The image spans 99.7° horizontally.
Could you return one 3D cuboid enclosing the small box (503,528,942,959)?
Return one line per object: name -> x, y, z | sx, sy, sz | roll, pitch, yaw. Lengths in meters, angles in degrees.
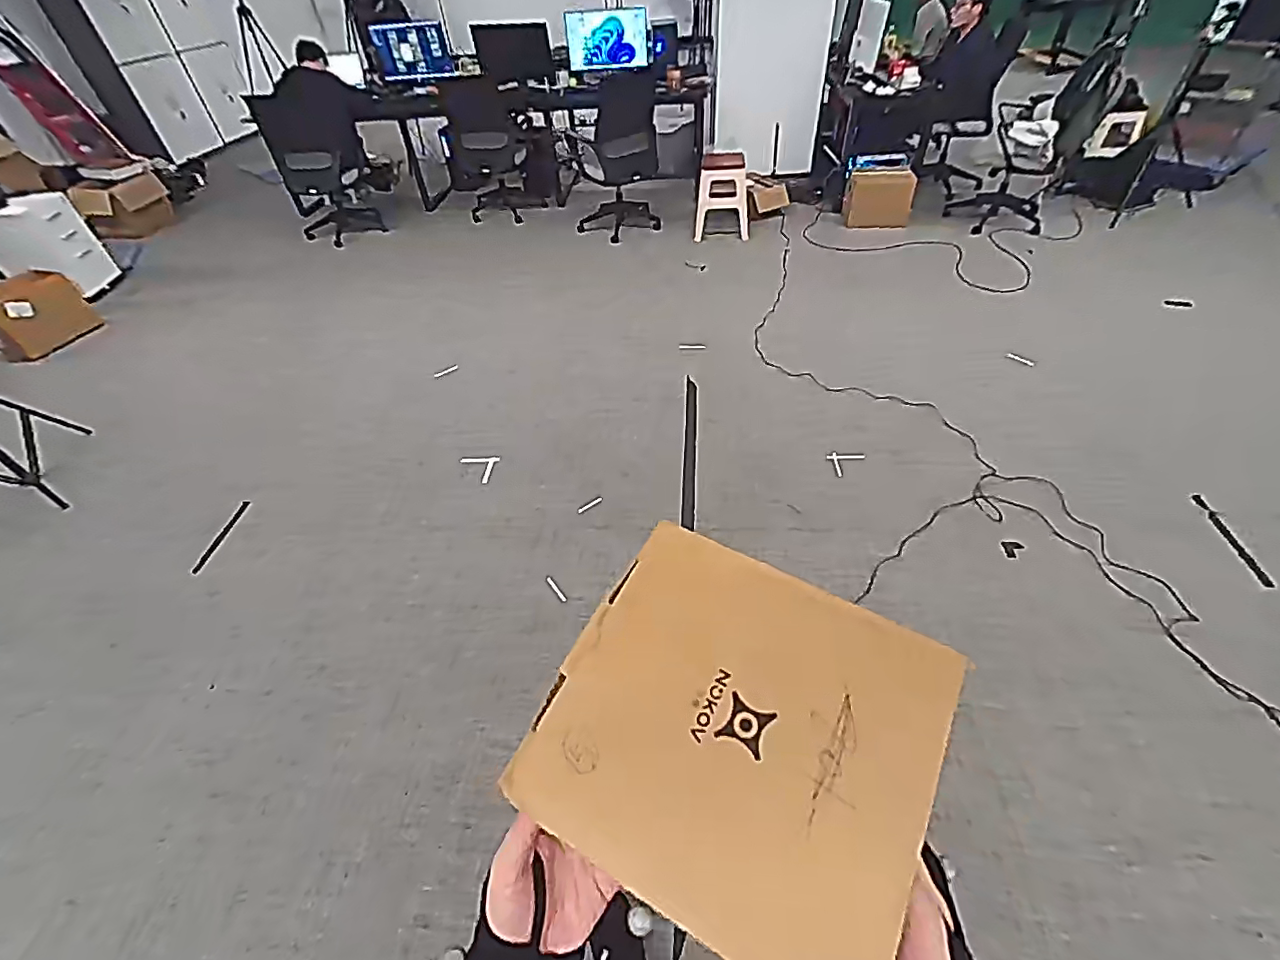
small box -> 0.049, 0.165, 0.340 | 0.179, 0.176, 0.168 | 24, 61, 18
